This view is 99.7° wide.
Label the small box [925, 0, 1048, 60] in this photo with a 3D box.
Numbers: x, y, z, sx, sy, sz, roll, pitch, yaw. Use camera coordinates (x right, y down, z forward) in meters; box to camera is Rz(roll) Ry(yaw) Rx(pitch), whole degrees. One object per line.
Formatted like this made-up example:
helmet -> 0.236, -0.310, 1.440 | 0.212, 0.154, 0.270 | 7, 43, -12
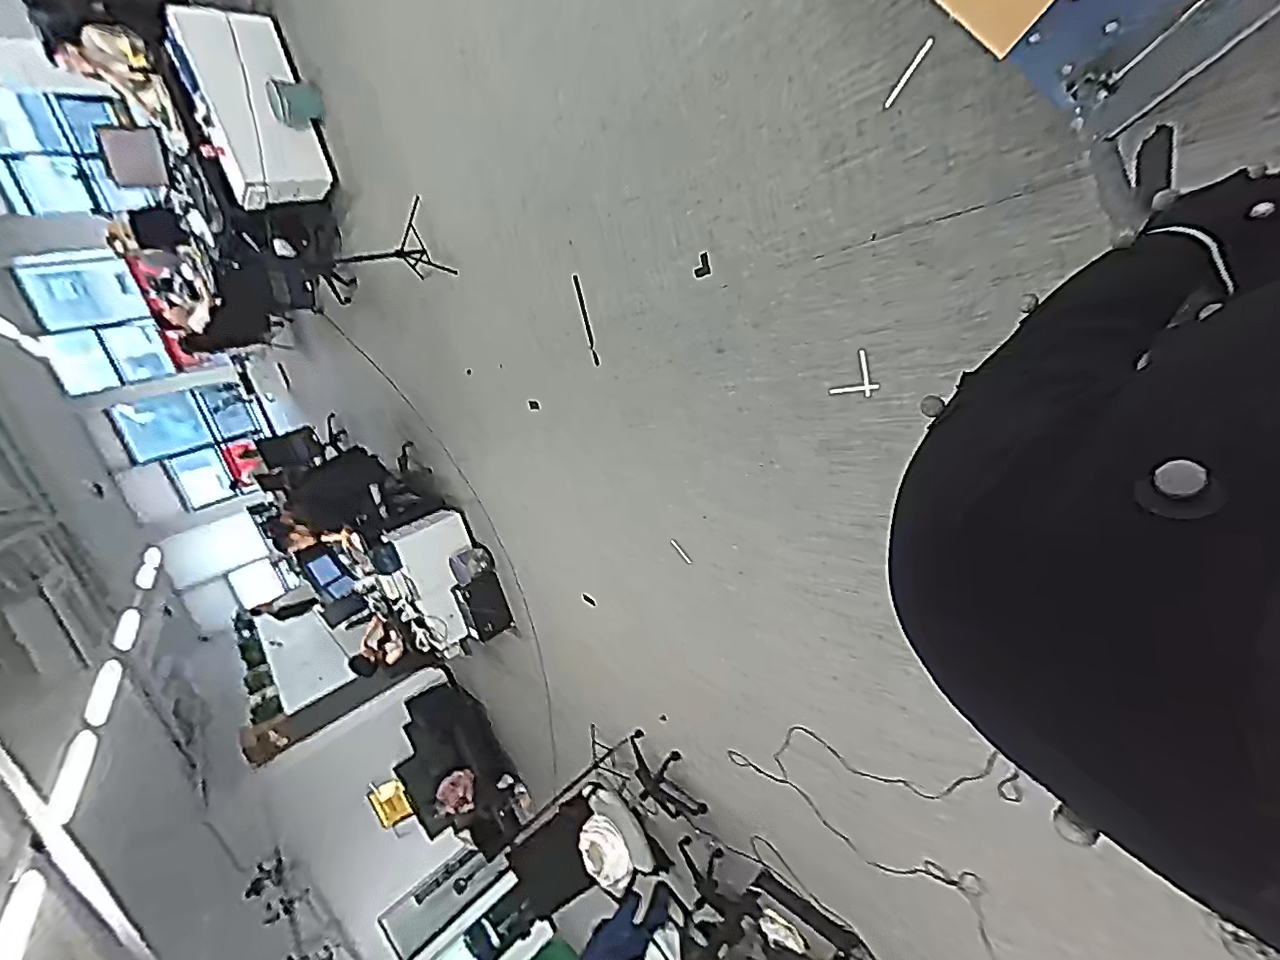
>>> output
small box -> 0.572, -0.803, 0.832 | 0.168, 0.176, 0.179 | 38, 142, -4
